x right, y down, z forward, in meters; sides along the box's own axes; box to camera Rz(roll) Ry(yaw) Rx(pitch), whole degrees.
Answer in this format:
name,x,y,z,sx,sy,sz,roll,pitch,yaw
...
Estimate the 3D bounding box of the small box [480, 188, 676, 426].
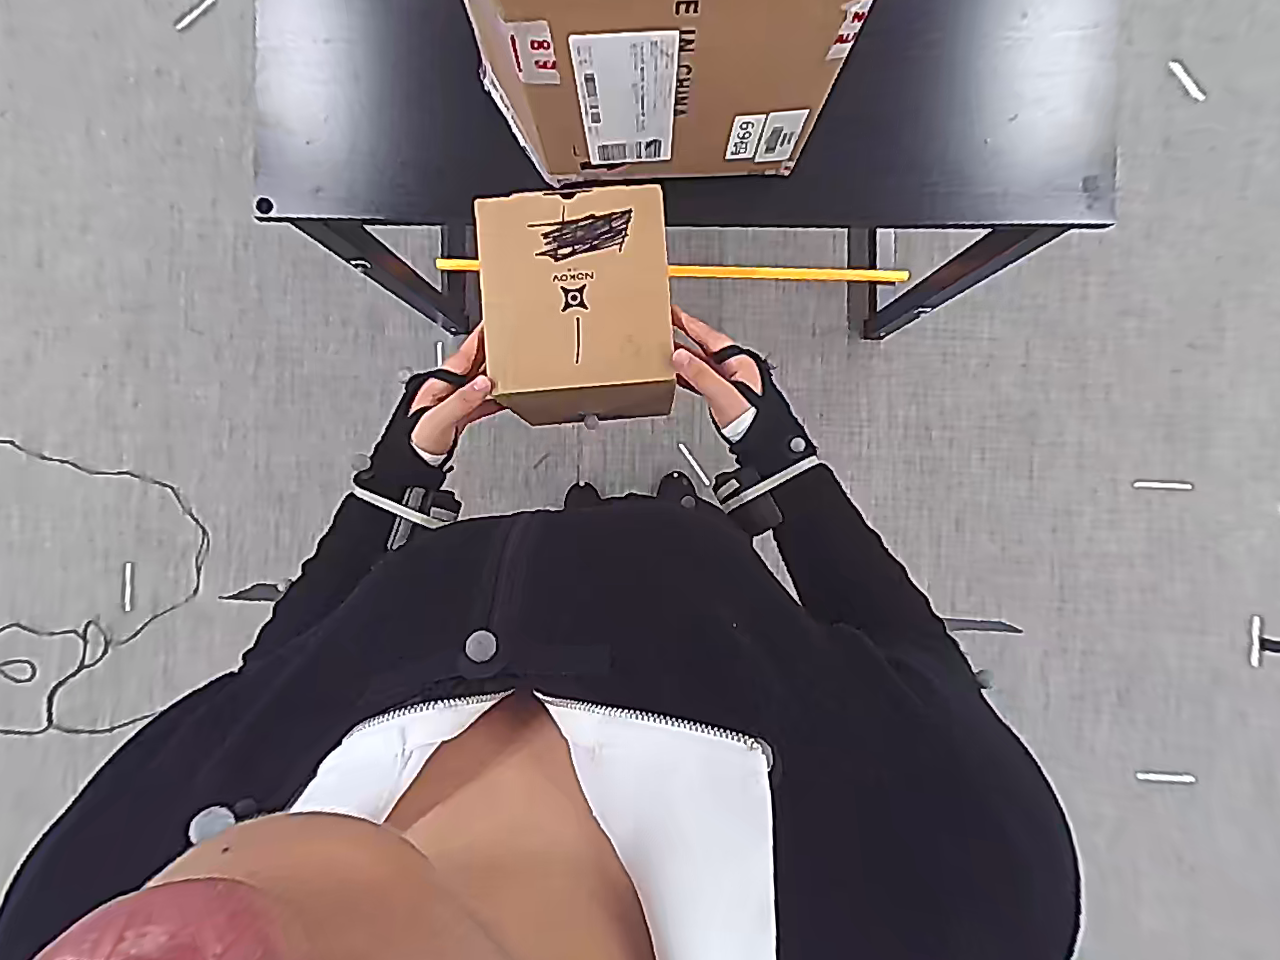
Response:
name,x,y,z,sx,sy,sz,roll,pitch,yaw
small box,-0.054,-0.160,0.550,0.168,0.176,0.179,-4,86,2
